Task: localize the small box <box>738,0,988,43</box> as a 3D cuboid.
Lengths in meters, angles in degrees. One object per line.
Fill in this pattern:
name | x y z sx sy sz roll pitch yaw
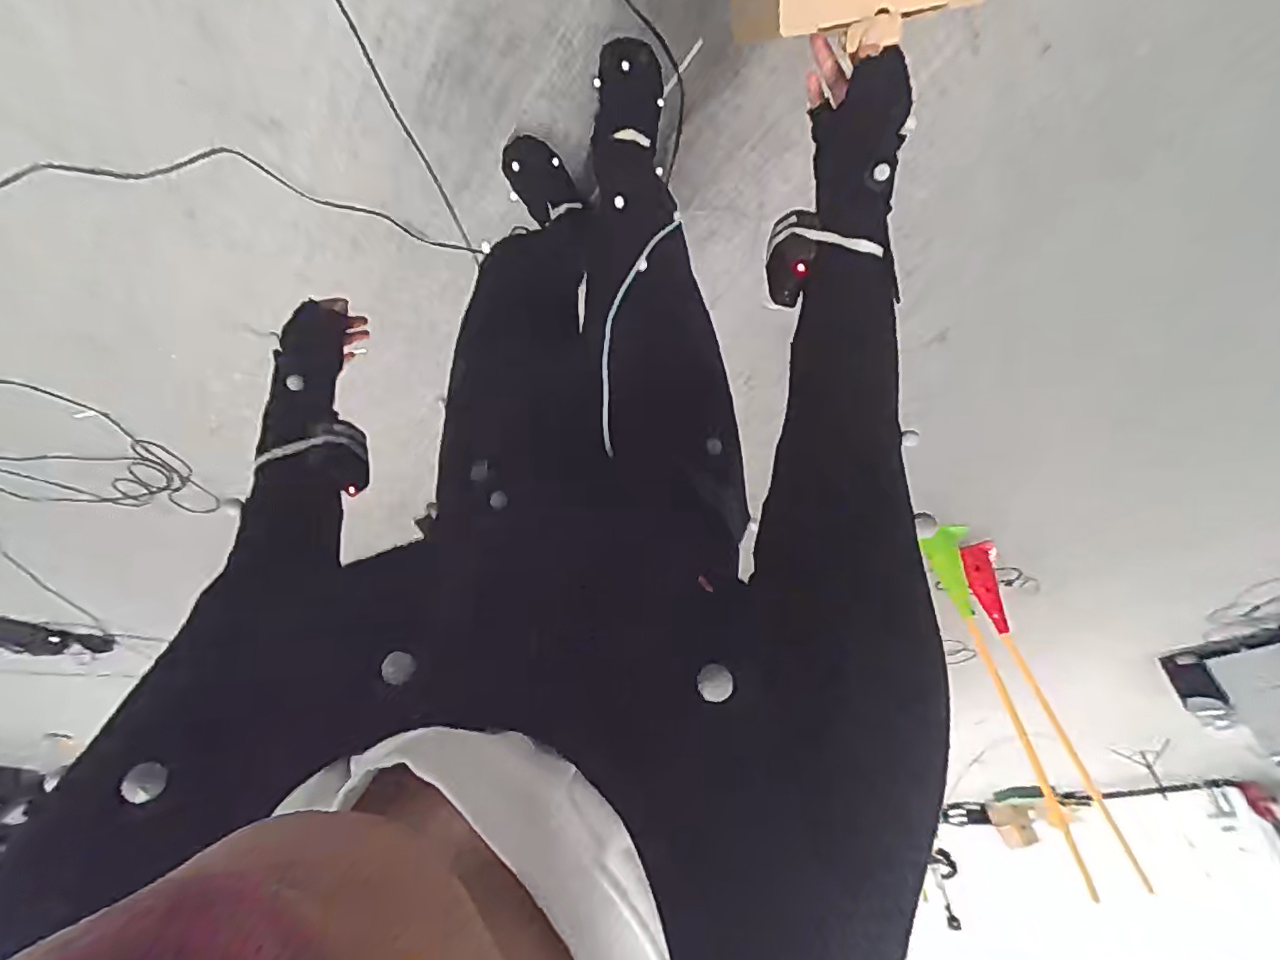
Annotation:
small box | 0.172 -0.469 0.424 0.168 0.176 0.179 -9 129 2
